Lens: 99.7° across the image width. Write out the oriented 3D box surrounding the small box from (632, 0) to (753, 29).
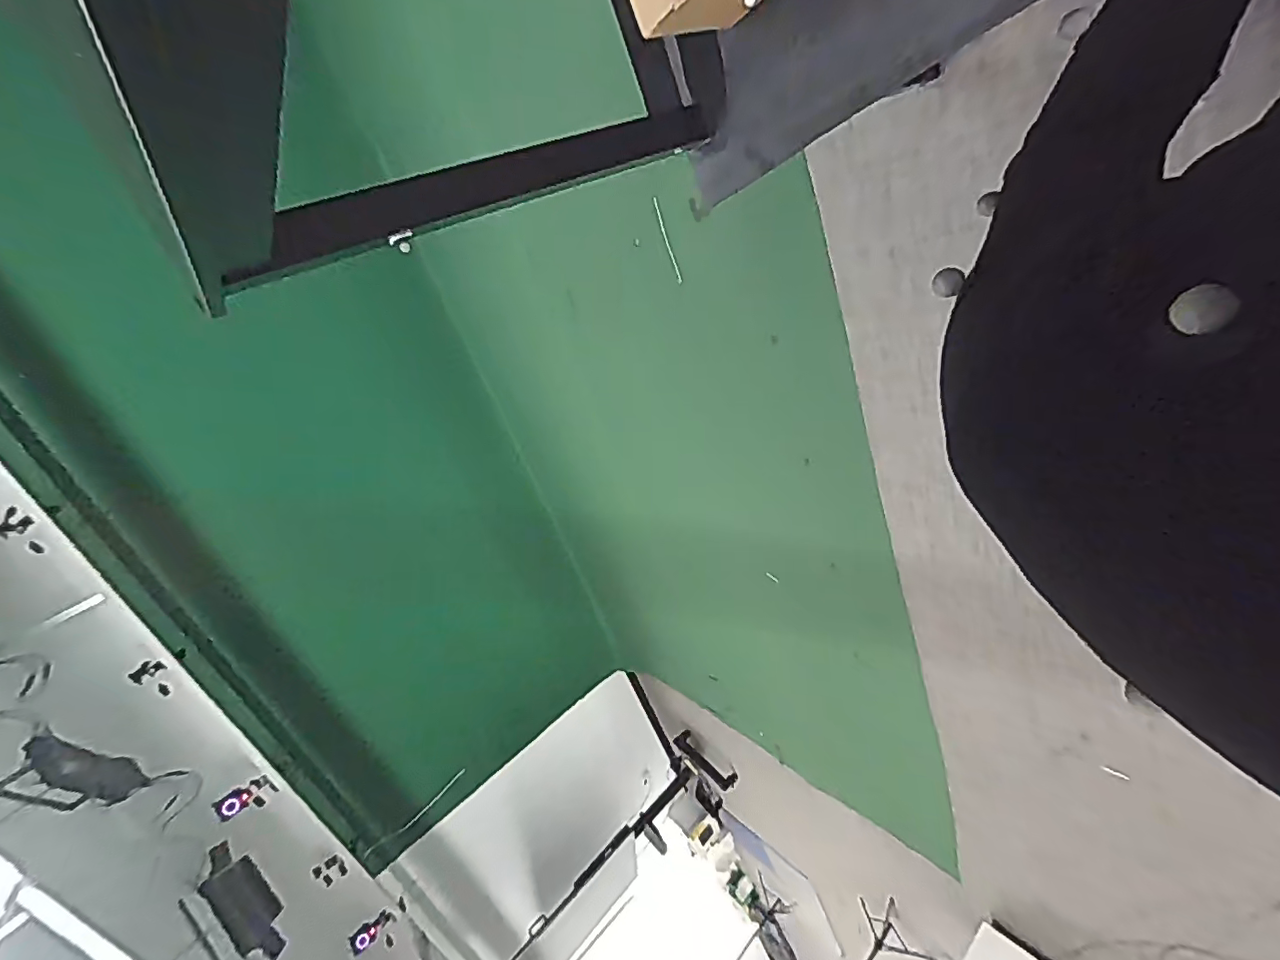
[{"bbox_3d":[0.078,-0.665,0.615,0.168,0.176,0.179,6,125,56],"label":"small box"}]
